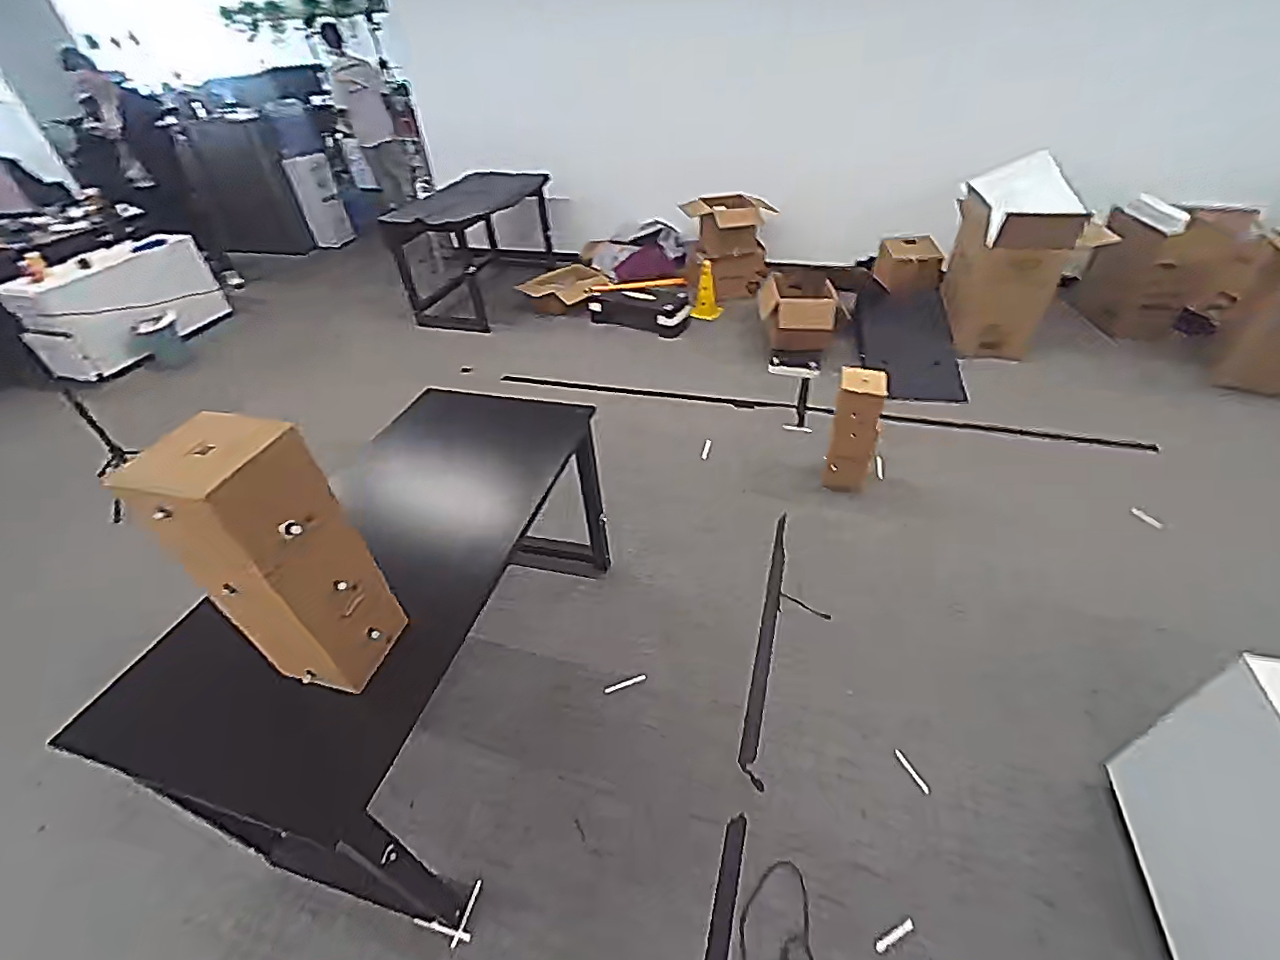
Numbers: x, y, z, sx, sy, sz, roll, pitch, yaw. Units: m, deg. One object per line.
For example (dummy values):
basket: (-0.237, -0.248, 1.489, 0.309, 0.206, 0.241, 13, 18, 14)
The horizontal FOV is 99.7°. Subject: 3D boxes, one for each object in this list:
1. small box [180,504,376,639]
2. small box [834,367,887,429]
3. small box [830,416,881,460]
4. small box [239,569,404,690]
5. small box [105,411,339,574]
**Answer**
small box: (-0.588, 0.143, 0.903, 0.179, 0.176, 0.168, 8, 43, 13)
small box: (0.891, -0.333, 2.188, 0.168, 0.176, 0.179, 11, 43, 15)
small box: (0.907, -0.204, 2.287, 0.179, 0.176, 0.168, 10, 43, 14)
small box: (-0.577, 0.268, 1.010, 0.179, 0.176, 0.168, 7, 42, 12)
small box: (-0.596, 0.019, 0.798, 0.179, 0.176, 0.168, 7, 43, 13)
